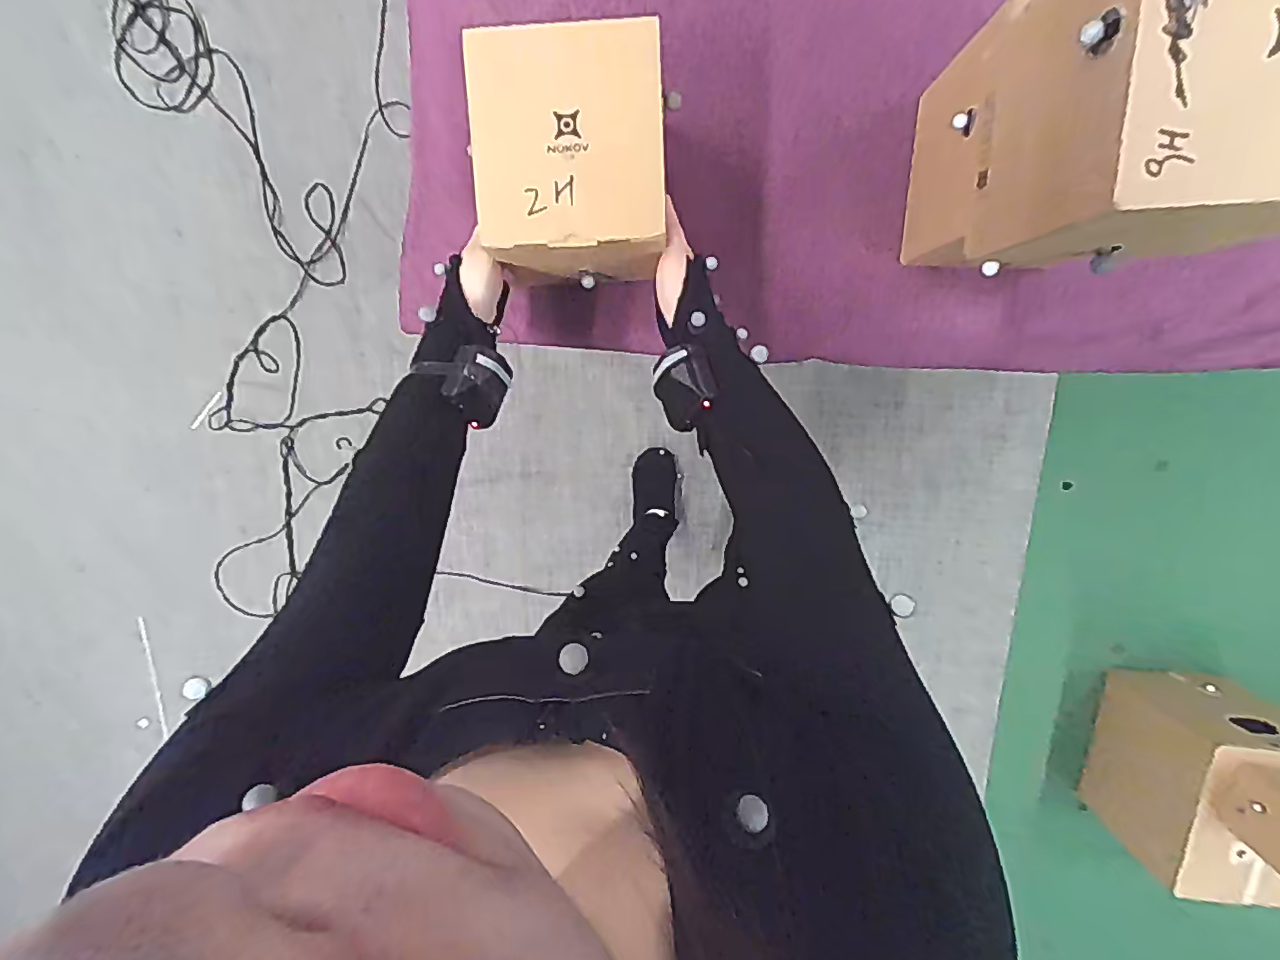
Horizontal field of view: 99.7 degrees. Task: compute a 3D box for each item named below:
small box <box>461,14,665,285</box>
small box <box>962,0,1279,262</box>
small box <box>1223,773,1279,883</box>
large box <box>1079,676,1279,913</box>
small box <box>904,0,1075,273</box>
[{"bbox_3d":[-0.061,-0.300,0.528,0.168,0.176,0.179,-2,99,2],"label":"small box"},{"bbox_3d":[0.353,-0.246,0.356,0.179,0.176,0.168,0,102,4],"label":"small box"},{"bbox_3d":[1.356,0.717,1.078,0.179,0.176,0.168,6,103,4],"label":"small box"},{"bbox_3d":[1.382,0.747,1.332,0.320,0.320,0.408,4,103,4],"label":"large box"},{"bbox_3d":[0.372,-0.306,0.510,0.168,0.176,0.179,3,102,4],"label":"small box"}]
